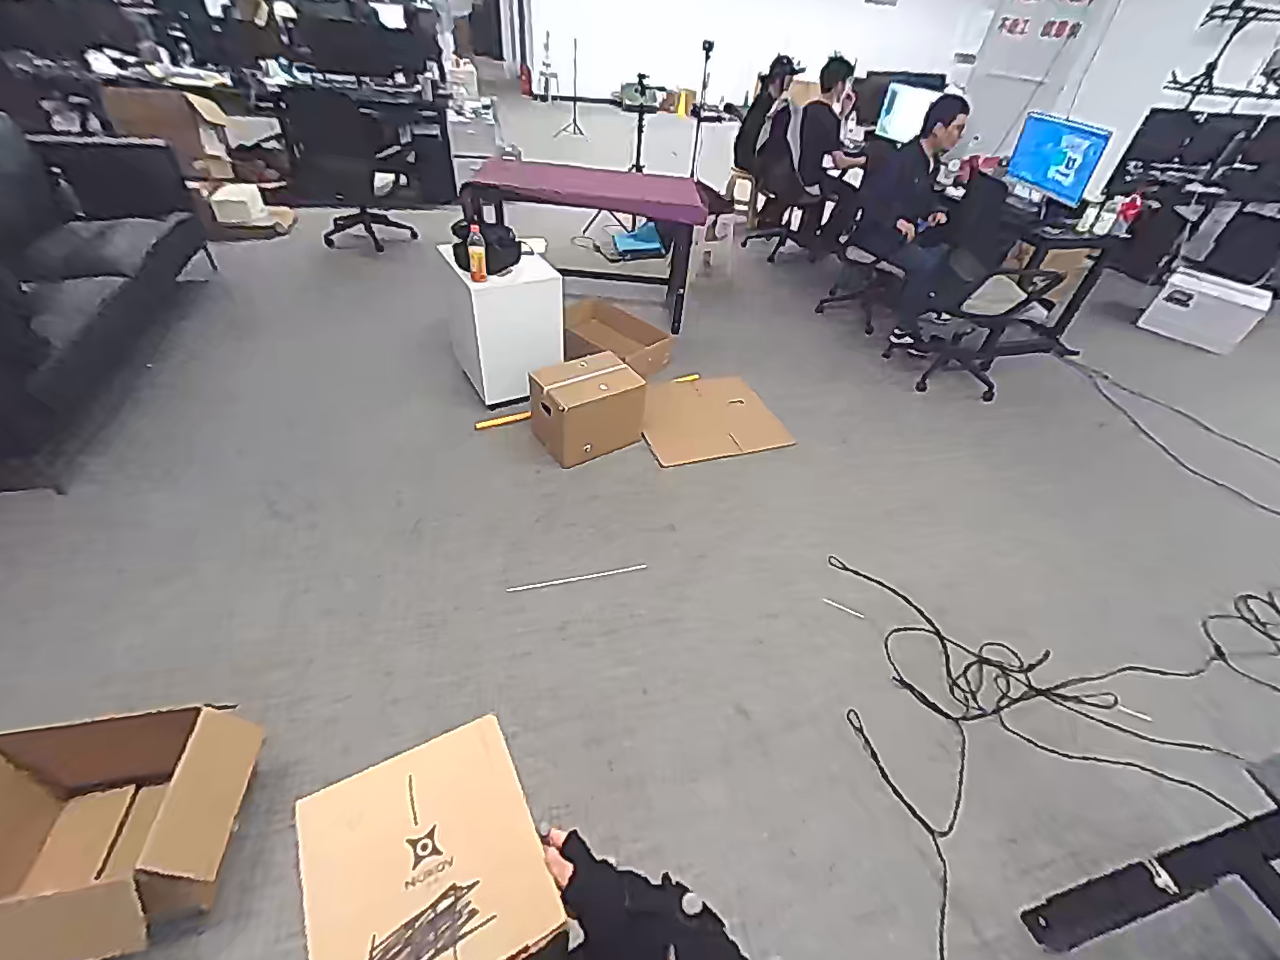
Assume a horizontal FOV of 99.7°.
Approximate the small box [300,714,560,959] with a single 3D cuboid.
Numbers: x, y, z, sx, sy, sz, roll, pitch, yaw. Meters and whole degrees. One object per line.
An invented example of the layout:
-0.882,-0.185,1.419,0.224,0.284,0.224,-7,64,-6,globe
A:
-0.175,0.352,0.479,0.168,0.176,0.179,-17,48,-24,small box
